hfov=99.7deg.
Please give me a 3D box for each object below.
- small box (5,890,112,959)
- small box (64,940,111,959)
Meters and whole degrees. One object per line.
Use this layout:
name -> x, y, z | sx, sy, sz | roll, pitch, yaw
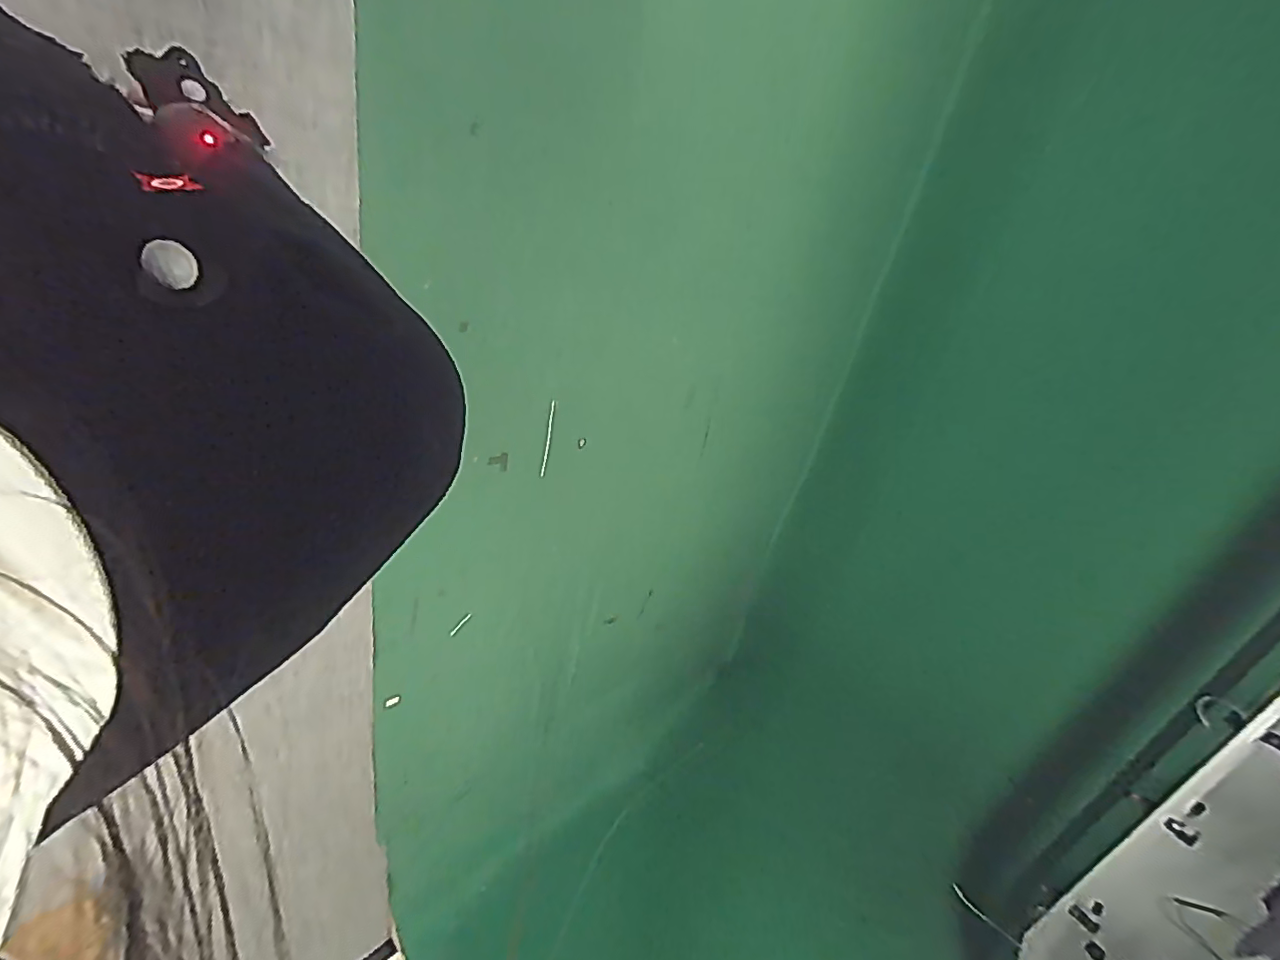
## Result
small box -> -1.607, 1.305, 1.496 | 0.179, 0.176, 0.168 | -19, 131, -45
small box -> -1.490, 1.369, 1.402 | 0.179, 0.176, 0.168 | -15, 128, -45
